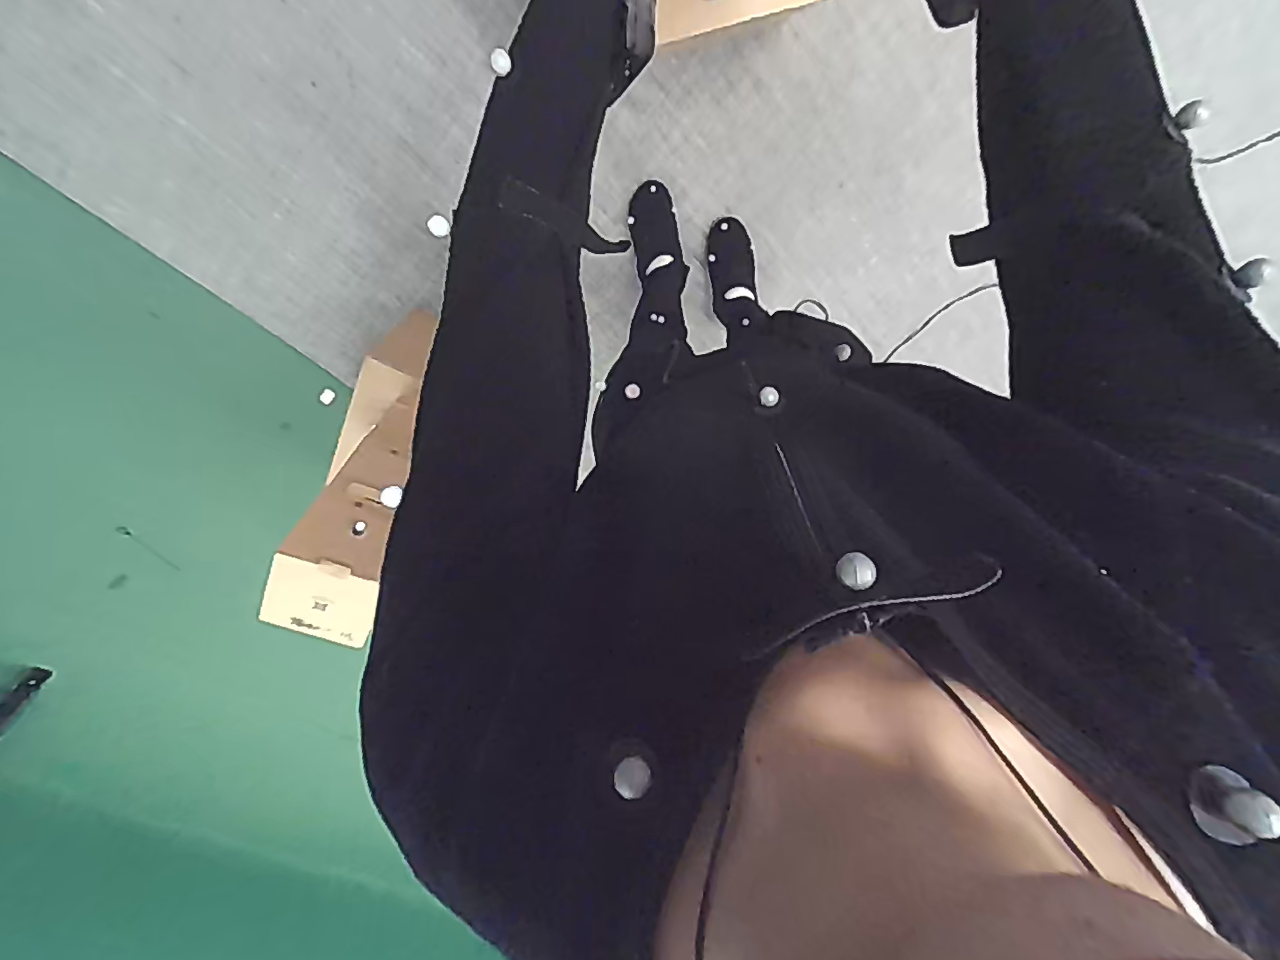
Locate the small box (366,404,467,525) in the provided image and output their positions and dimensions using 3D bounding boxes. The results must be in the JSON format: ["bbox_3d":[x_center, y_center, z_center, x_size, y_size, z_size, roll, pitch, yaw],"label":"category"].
[{"bbox_3d":[-0.501,-0.038,1.183,0.179,0.176,0.168,26,120,-17],"label":"small box"}]

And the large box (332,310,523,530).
[{"bbox_3d":[-0.537,-0.154,1.399,0.320,0.320,0.408,26,122,-16],"label":"large box"}]

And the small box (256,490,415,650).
[{"bbox_3d":[-0.501,0.146,0.912,0.168,0.176,0.179,25,120,-17],"label":"small box"}]

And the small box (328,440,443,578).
[{"bbox_3d":[-0.500,0.051,1.046,0.168,0.176,0.179,24,121,-17],"label":"small box"}]
